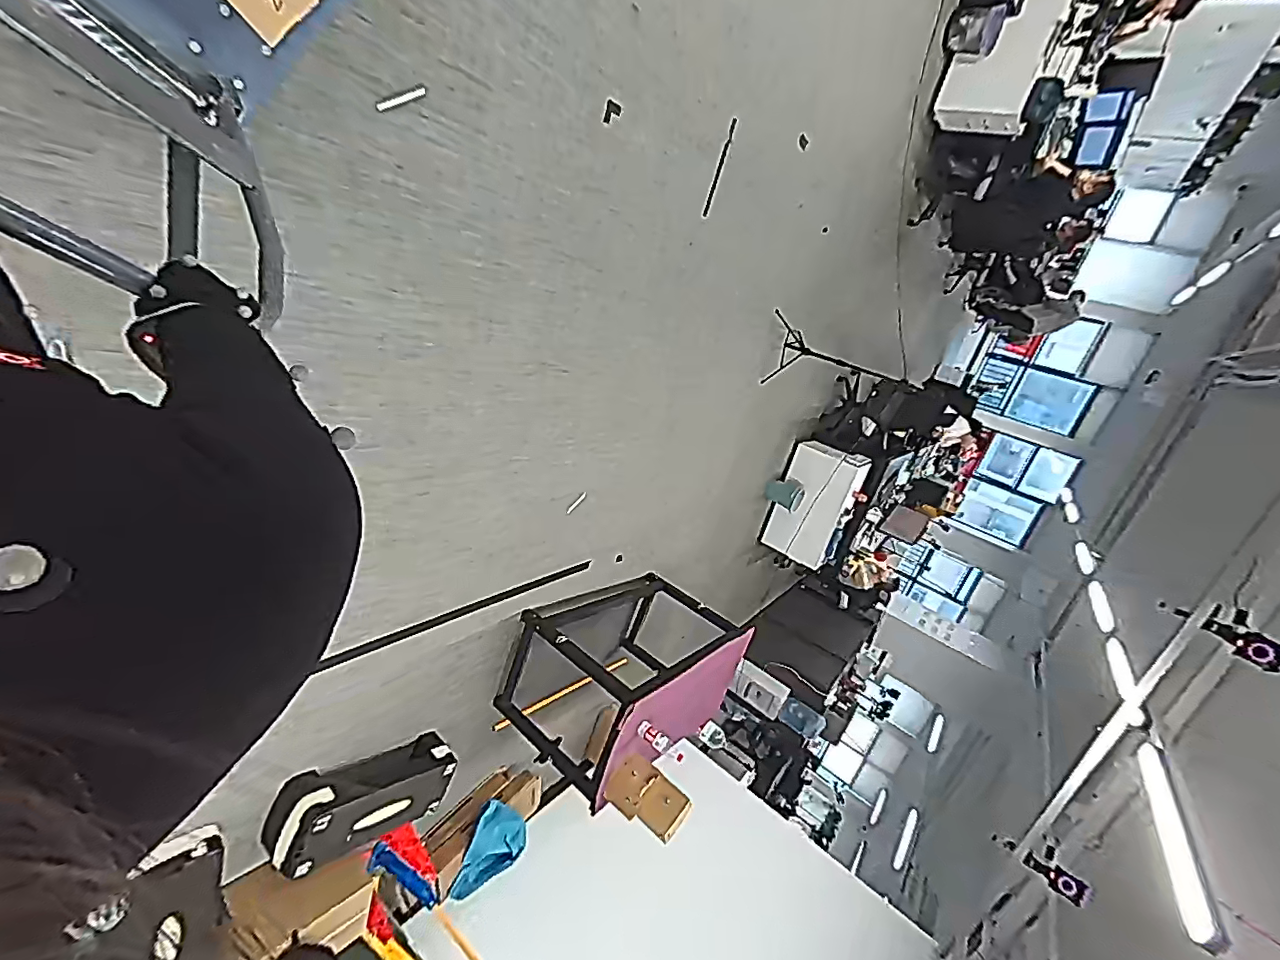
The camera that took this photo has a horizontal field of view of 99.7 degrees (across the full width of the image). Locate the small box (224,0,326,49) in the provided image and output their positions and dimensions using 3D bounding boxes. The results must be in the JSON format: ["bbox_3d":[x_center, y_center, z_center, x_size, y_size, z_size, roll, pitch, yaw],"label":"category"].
[{"bbox_3d":[-0.591,-0.809,0.809,0.168,0.176,0.179,-40,151,4],"label":"small box"}]
